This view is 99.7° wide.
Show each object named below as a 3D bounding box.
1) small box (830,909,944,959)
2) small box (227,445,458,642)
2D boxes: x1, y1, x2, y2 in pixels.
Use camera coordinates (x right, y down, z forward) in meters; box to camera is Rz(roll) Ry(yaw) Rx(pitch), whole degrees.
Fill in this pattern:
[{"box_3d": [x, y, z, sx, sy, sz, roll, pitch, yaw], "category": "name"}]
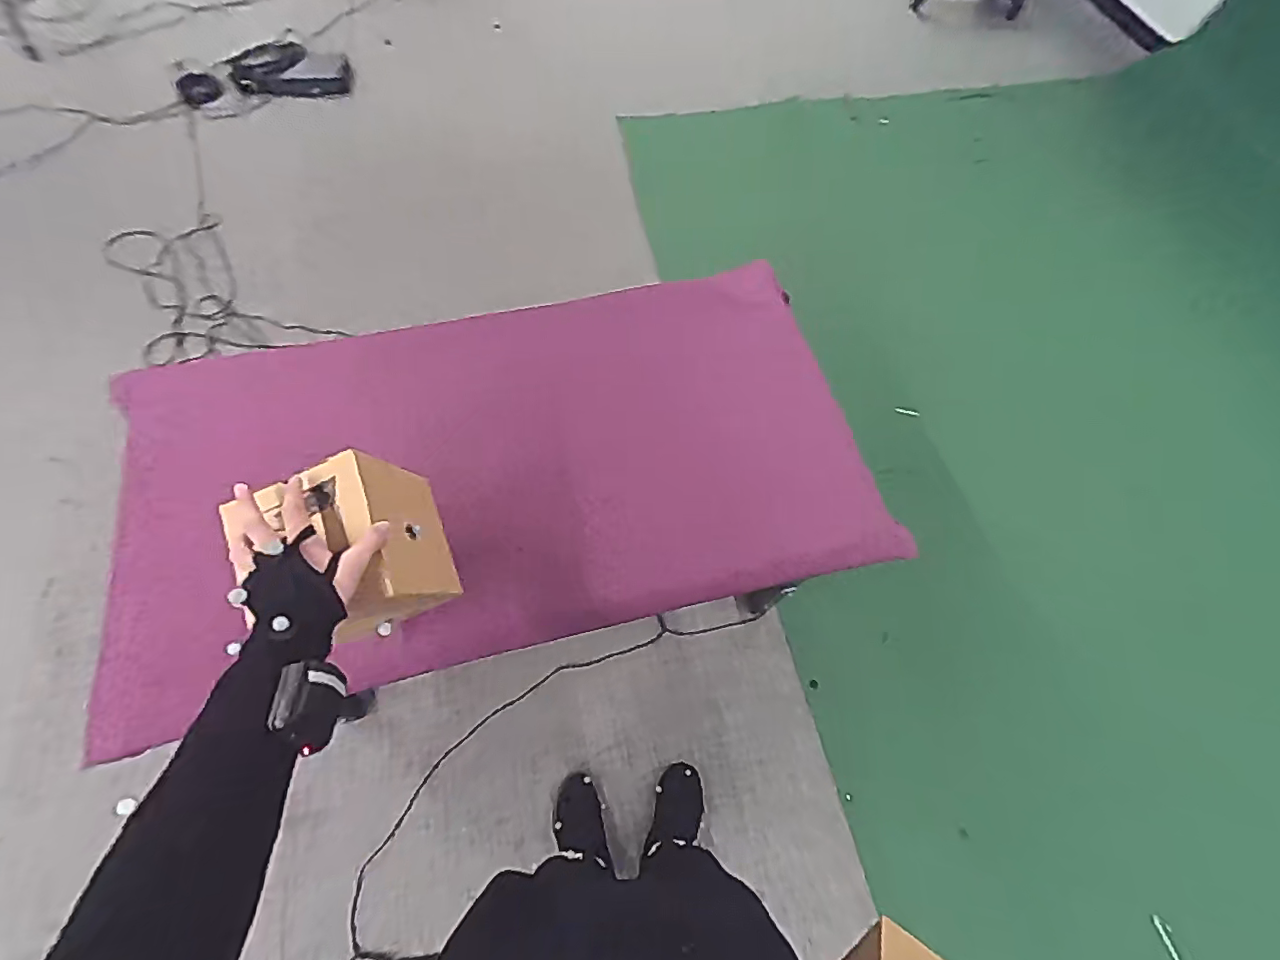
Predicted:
[{"box_3d": [0.292, 0.658, 0.605, 0.168, 0.176, 0.179, 31, 23, 19], "category": "small box"}, {"box_3d": [-0.355, 0.084, 0.671, 0.168, 0.176, 0.179, -23, 78, 1], "category": "small box"}]
